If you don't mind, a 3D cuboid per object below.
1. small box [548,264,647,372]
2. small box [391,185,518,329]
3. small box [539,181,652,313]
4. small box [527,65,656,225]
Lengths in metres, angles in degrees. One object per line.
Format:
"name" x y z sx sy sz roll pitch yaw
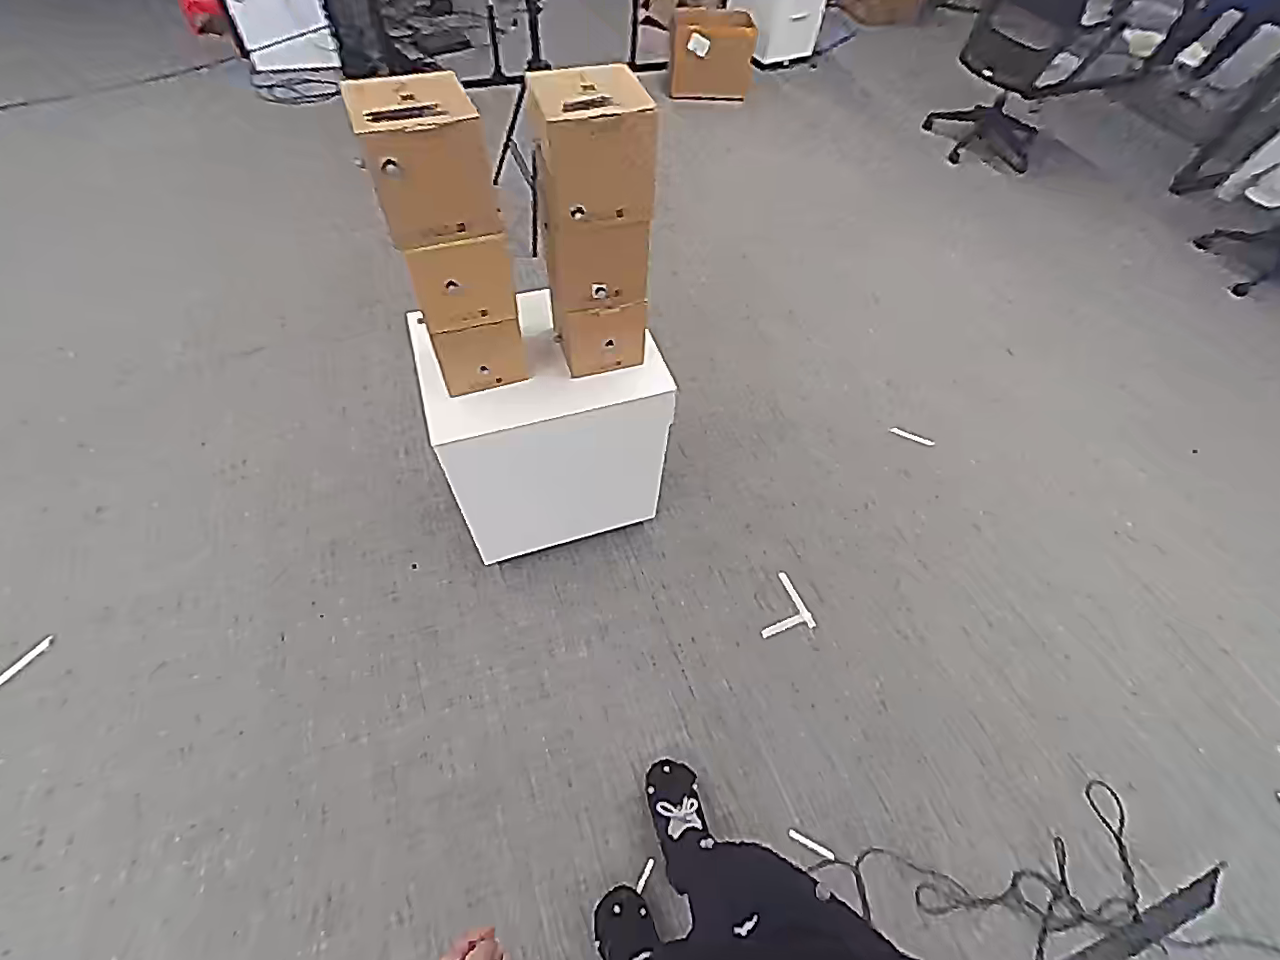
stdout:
"small box" -0.090 -0.348 1.145 0.168 0.176 0.179 -14 60 -13
"small box" -0.324 -0.389 0.963 0.168 0.176 0.179 -16 58 -14
"small box" -0.085 -0.445 1.014 0.168 0.176 0.179 -15 59 -11
"small box" -0.076 -0.533 0.876 0.168 0.176 0.179 -14 57 -10
